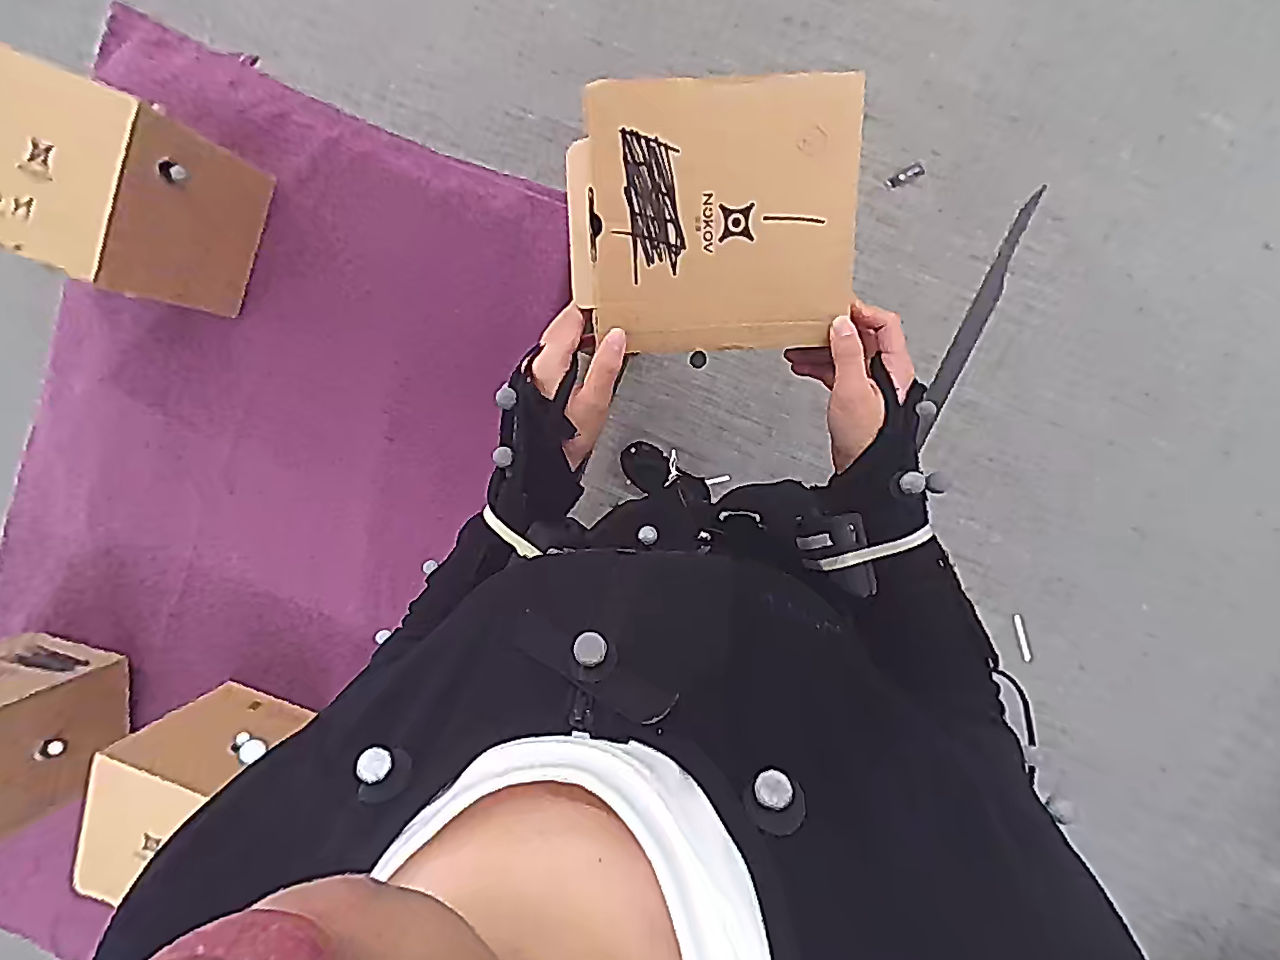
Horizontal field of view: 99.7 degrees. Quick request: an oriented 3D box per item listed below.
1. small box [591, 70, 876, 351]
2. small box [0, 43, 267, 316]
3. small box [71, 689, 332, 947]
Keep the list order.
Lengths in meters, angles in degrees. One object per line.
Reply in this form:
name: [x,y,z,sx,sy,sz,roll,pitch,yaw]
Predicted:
small box: [0.058,-0.187,0.425,0.179,0.176,0.168,-2,105,-1]
small box: [-0.546,-0.298,0.576,0.168,0.176,0.179,23,98,3]
small box: [-0.508,0.385,0.651,0.168,0.176,0.179,17,98,5]
